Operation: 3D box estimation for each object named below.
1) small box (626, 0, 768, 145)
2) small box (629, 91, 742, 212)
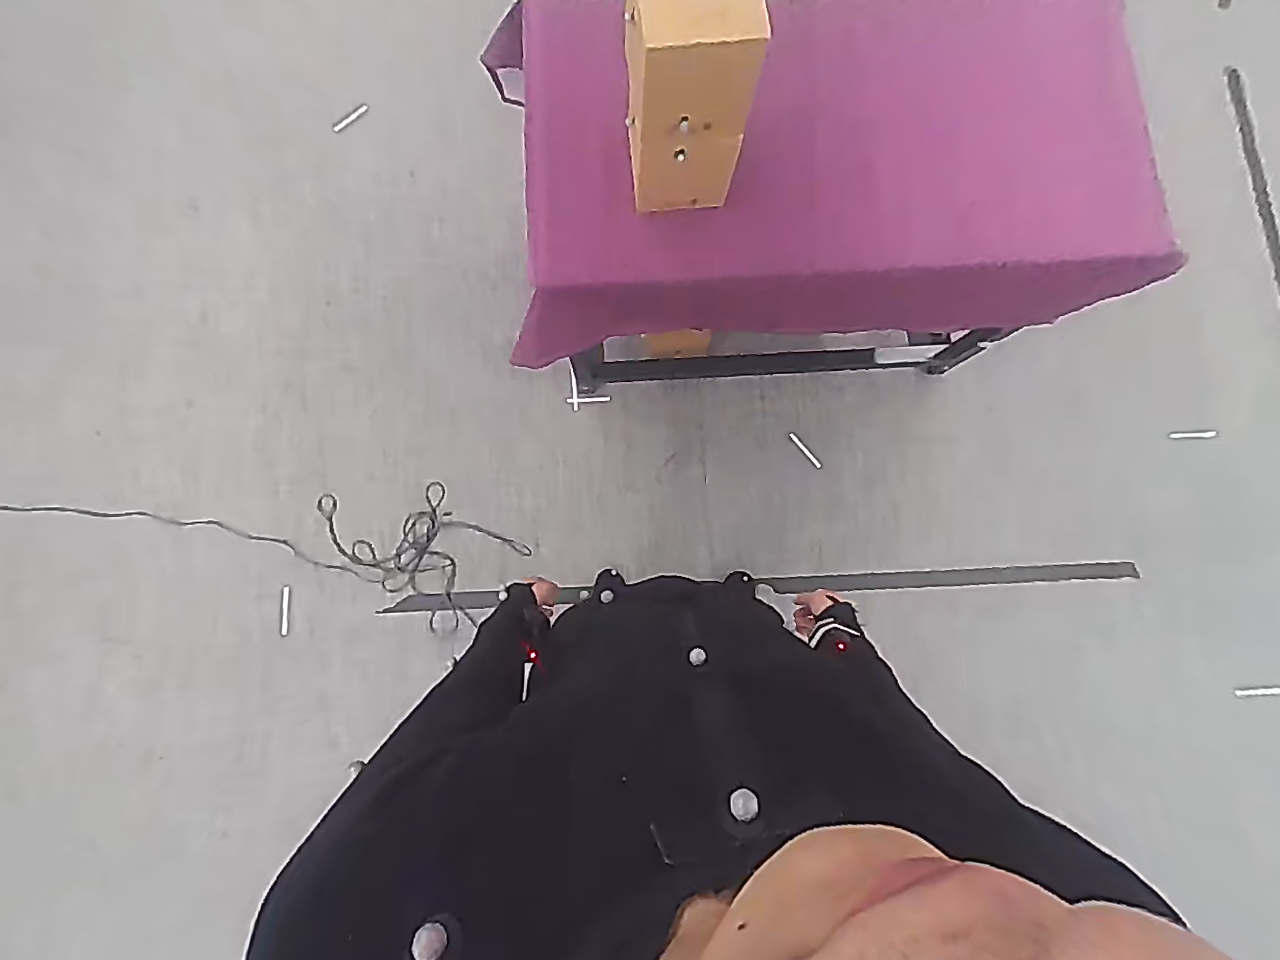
[{"bbox_3d":[0.071,-0.626,0.779,0.168,0.176,0.179,-7,82,-3],"label":"small box"},{"bbox_3d":[0.069,-0.600,0.940,0.168,0.176,0.179,-5,82,-3],"label":"small box"}]
